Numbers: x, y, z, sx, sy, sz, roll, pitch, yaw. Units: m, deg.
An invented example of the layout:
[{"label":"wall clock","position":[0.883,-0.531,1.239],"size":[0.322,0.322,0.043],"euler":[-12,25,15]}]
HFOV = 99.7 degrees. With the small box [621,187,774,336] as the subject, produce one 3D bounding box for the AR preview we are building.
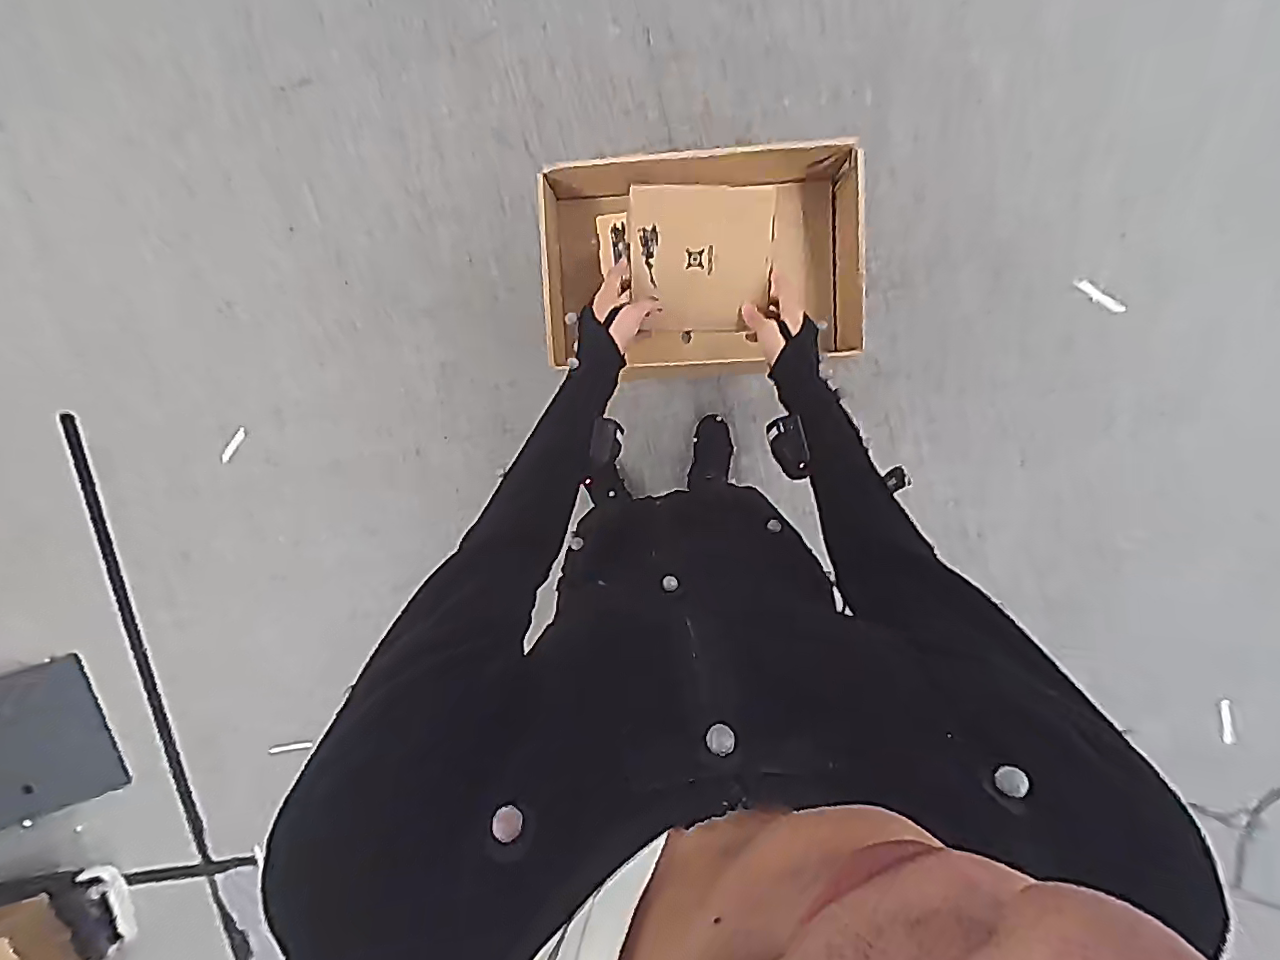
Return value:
[{"label":"small box","position":[0.067,-0.283,0.733],"size":[0.179,0.176,0.168],"euler":[0,104,-4]}]
